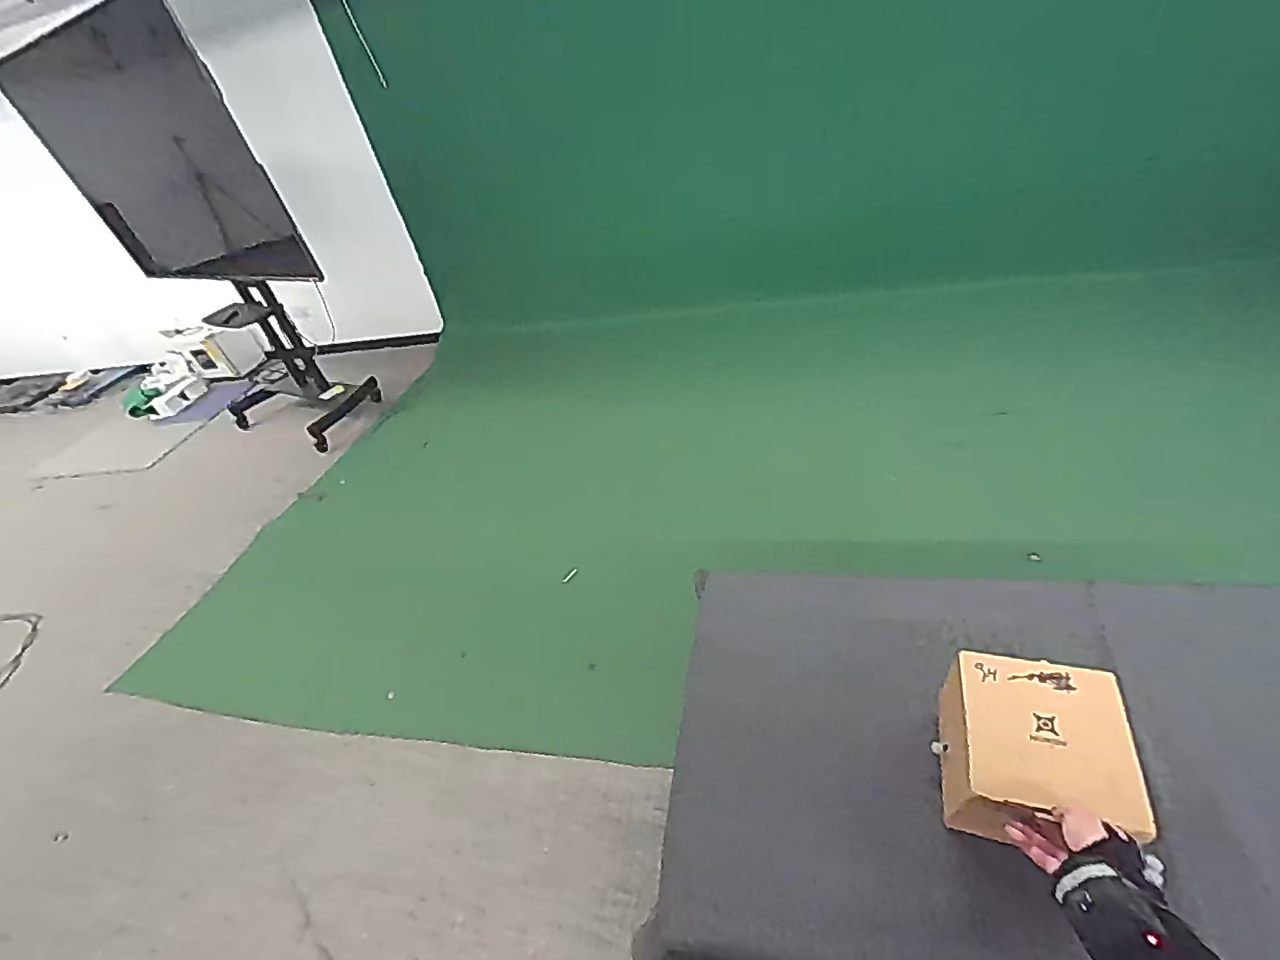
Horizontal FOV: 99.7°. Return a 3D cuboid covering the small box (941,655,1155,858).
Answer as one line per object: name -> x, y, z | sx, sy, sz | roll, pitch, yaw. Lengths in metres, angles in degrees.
small box -> 0.488, 0.347, 0.681 | 0.168, 0.176, 0.179 | 1, 48, 20
